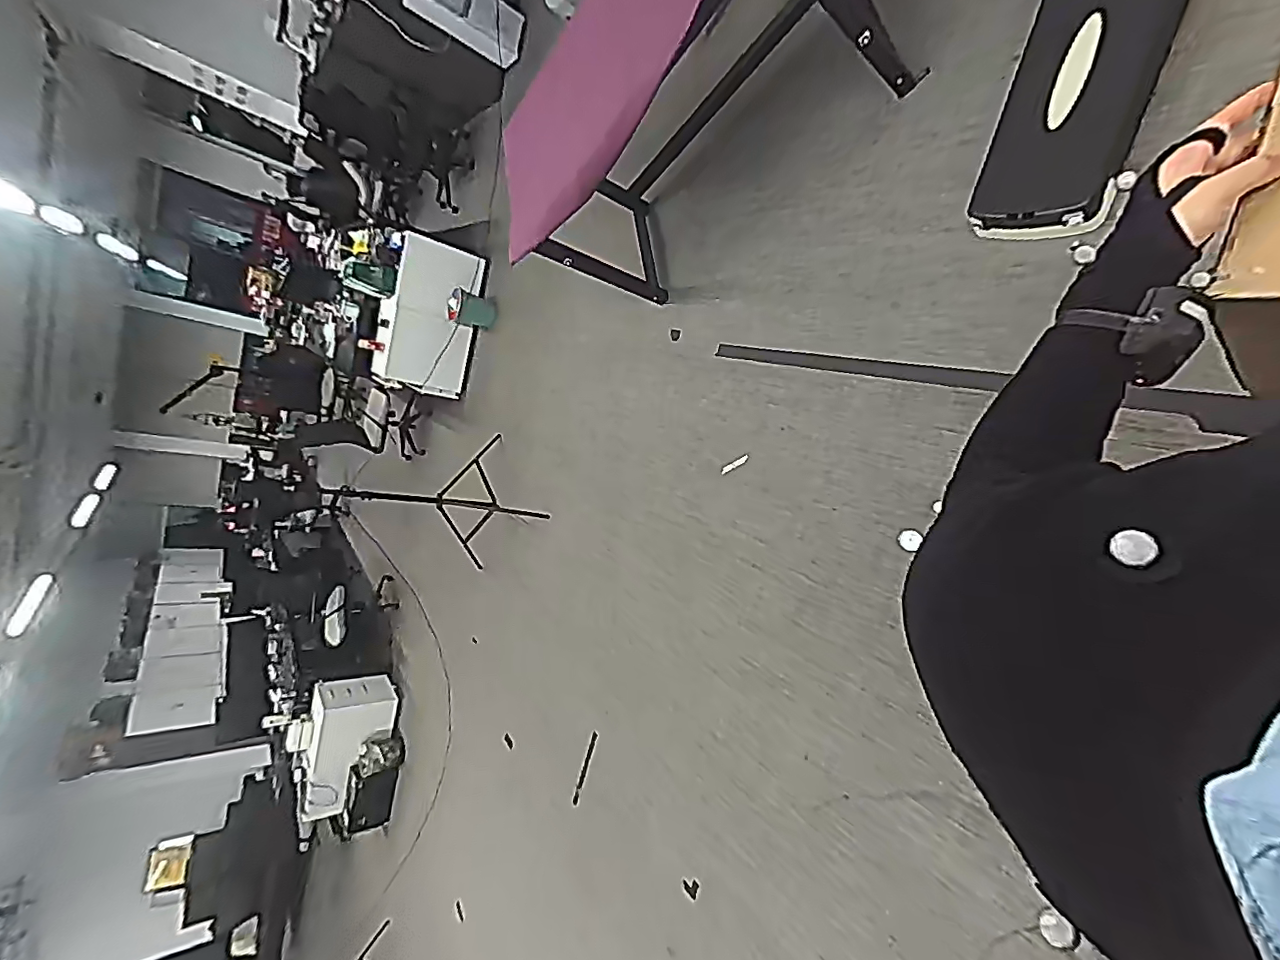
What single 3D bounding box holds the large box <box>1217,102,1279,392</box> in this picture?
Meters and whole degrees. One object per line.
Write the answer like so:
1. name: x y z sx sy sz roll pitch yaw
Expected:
1. large box: 0.717 -0.224 0.340 0.408 0.320 0.320 21 97 54
